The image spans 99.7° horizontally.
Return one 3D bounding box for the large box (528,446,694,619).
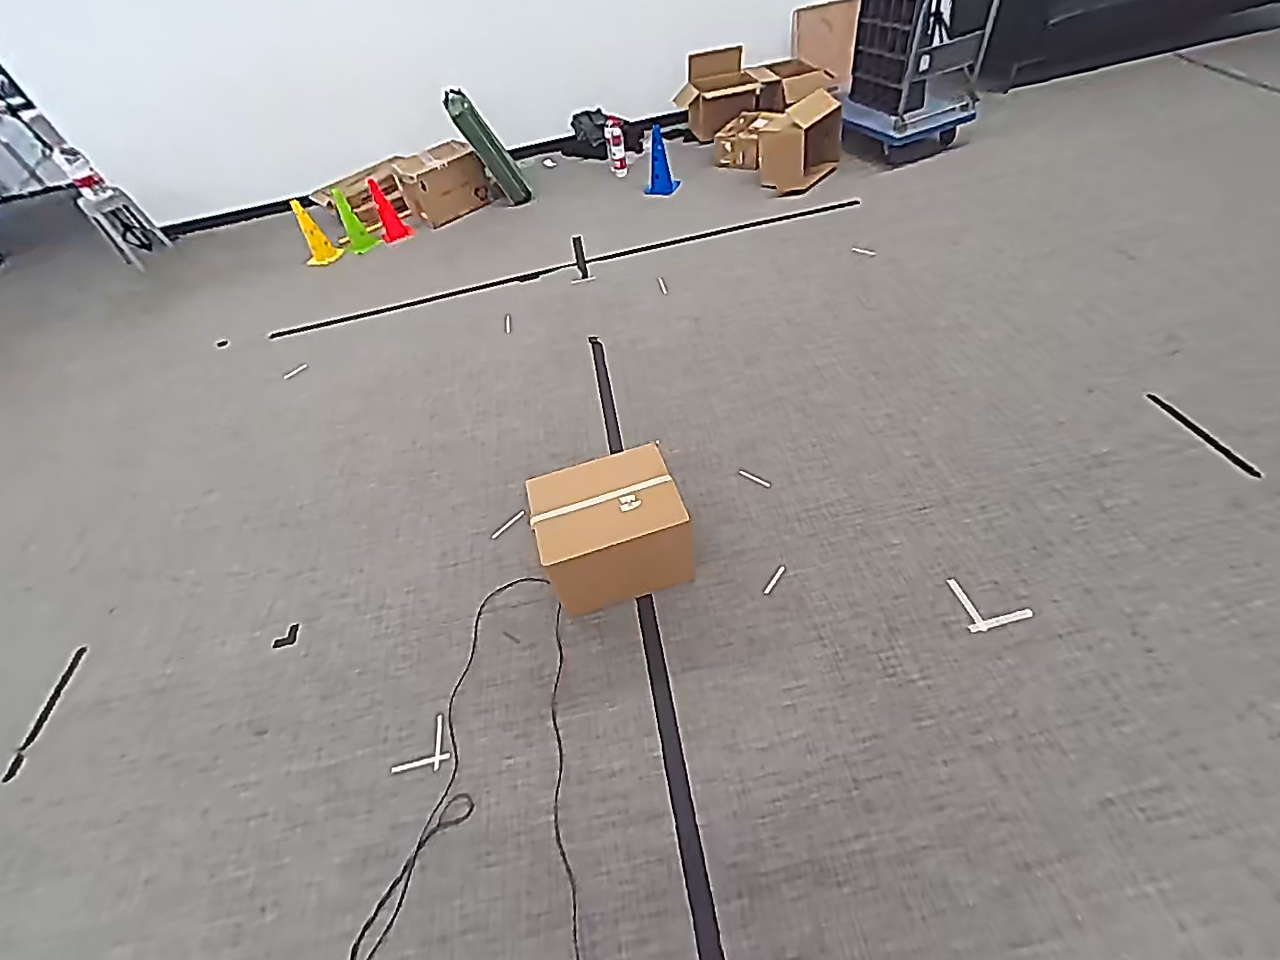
[{"bbox_3d":[-0.082,0.158,1.609,0.408,0.320,0.320,-16,50,-5],"label":"large box"}]
